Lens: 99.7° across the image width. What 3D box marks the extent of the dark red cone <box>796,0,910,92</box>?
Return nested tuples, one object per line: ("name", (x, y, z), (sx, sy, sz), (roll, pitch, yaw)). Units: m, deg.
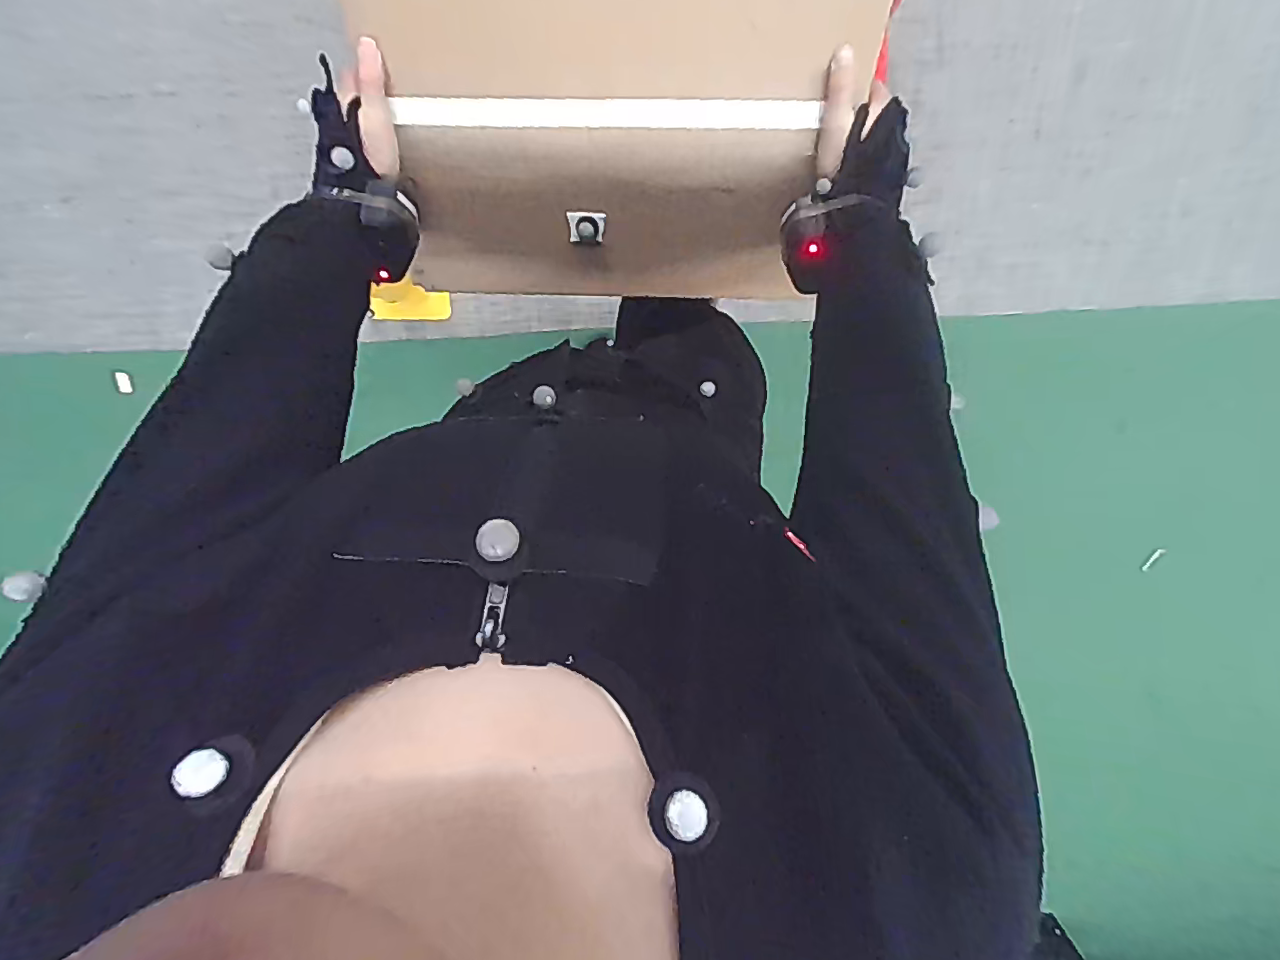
("dark red cone", (0.399, -0.804, 0.873), (0.202, 0.394, 0.201), (-9, 112, 2))
